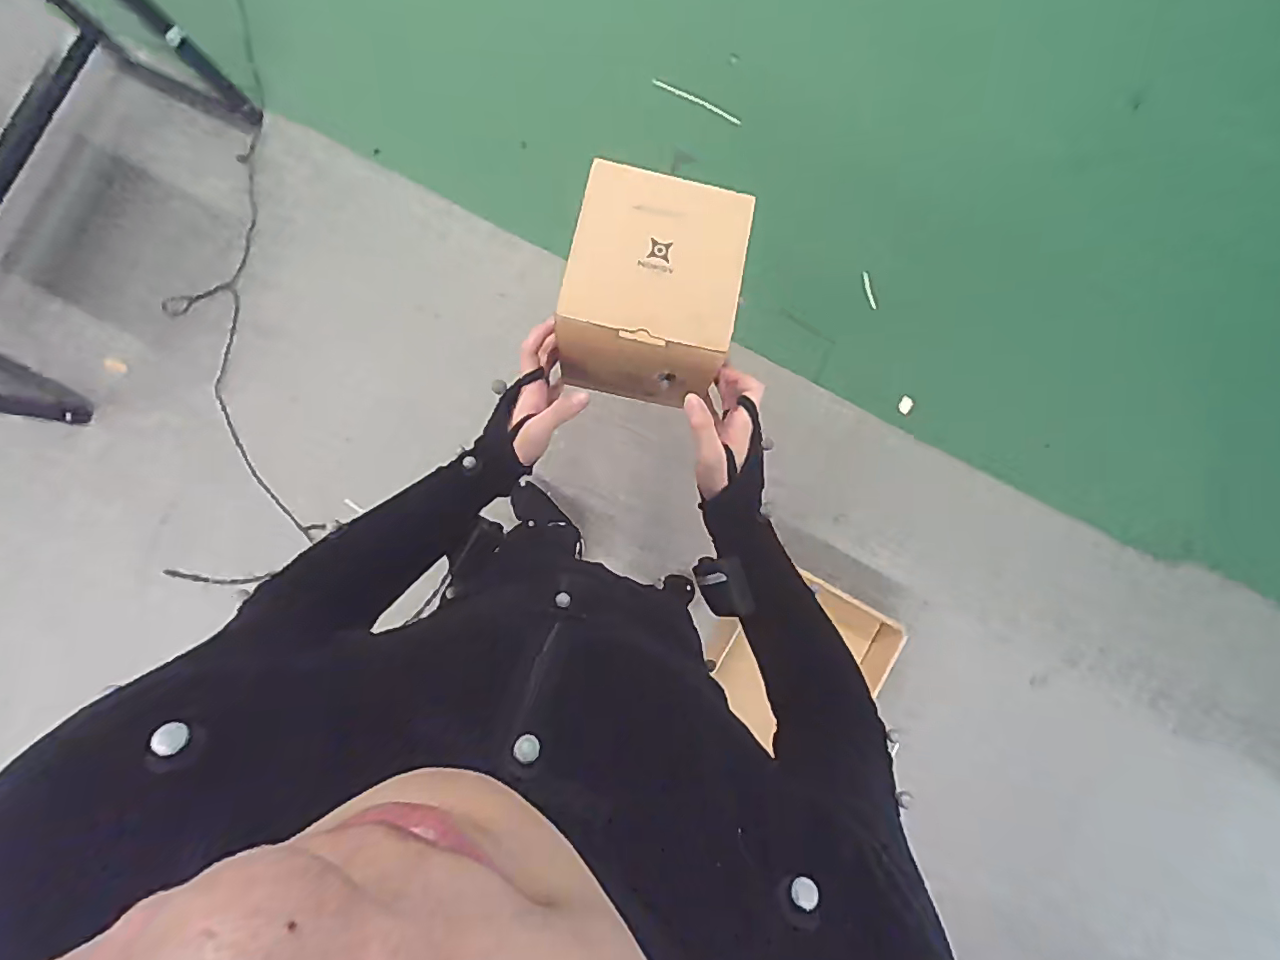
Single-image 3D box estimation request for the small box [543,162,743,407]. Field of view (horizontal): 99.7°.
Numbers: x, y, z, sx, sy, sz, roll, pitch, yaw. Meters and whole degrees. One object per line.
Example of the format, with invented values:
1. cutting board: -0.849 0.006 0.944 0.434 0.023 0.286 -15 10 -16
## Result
1. small box: 0.000 -0.196 0.592 0.168 0.176 0.179 12 77 -3
